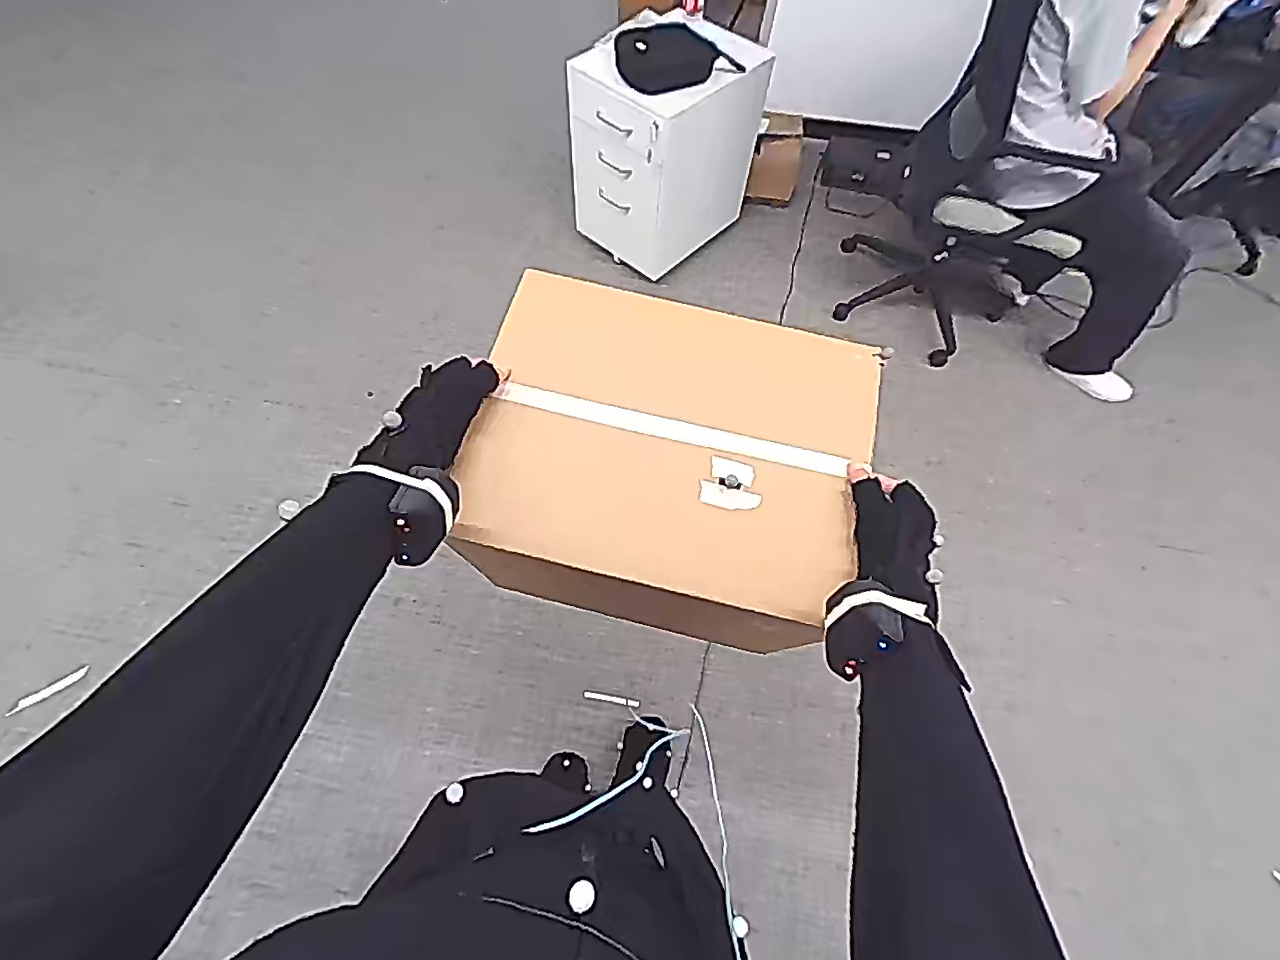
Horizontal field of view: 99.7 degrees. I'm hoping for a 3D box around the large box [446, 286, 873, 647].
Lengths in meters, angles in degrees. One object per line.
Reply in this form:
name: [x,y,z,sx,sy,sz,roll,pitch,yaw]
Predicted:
large box: [0.029,0.008,0.701,0.408,0.320,0.320,14,70,2]
